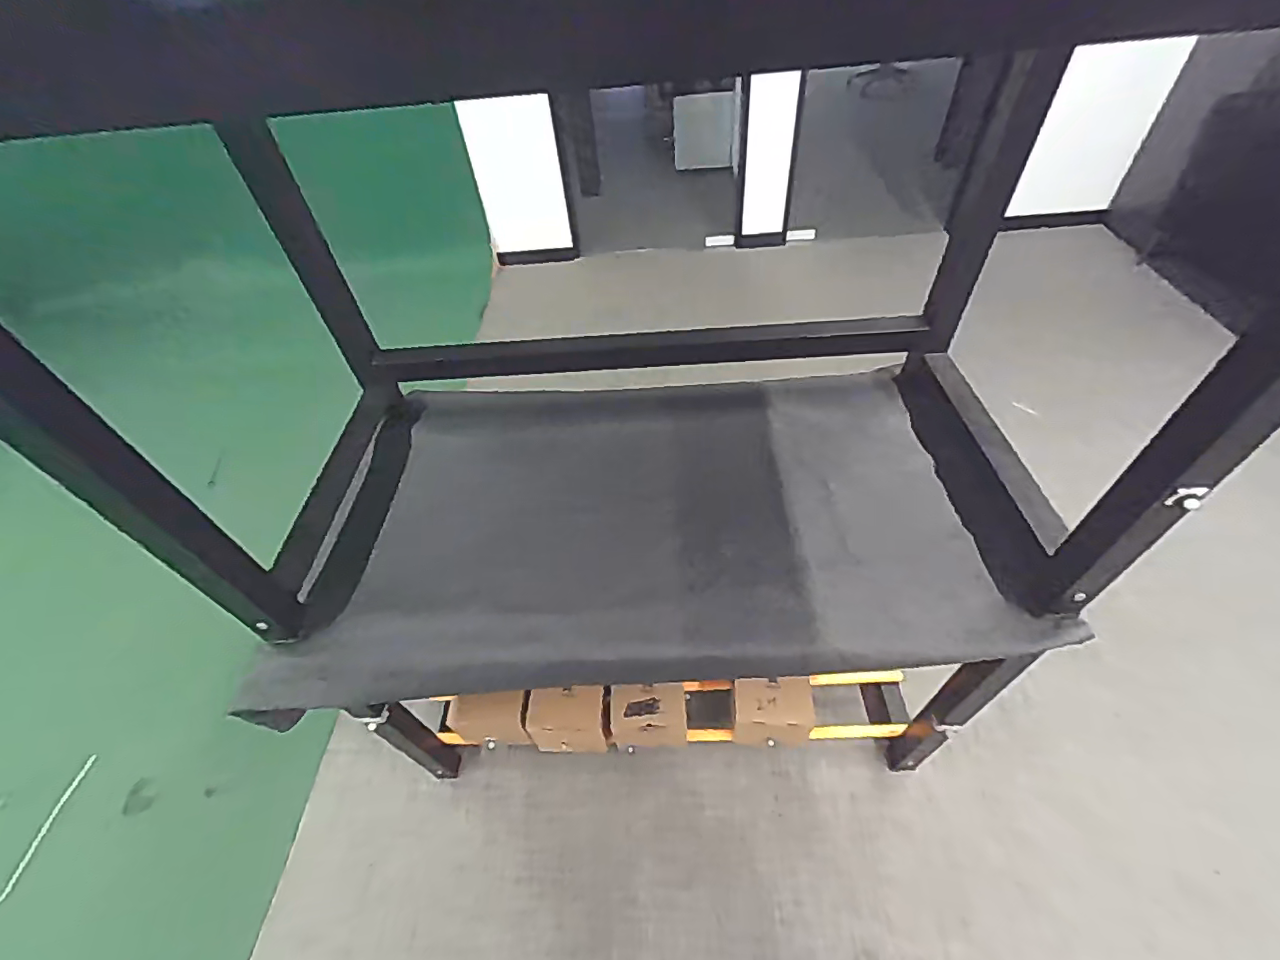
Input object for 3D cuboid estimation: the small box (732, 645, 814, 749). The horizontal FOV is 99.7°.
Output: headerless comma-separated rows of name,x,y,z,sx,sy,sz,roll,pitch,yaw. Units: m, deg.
small box,0.301,0.507,1.264,0.168,0.176,0.179,0,50,7
